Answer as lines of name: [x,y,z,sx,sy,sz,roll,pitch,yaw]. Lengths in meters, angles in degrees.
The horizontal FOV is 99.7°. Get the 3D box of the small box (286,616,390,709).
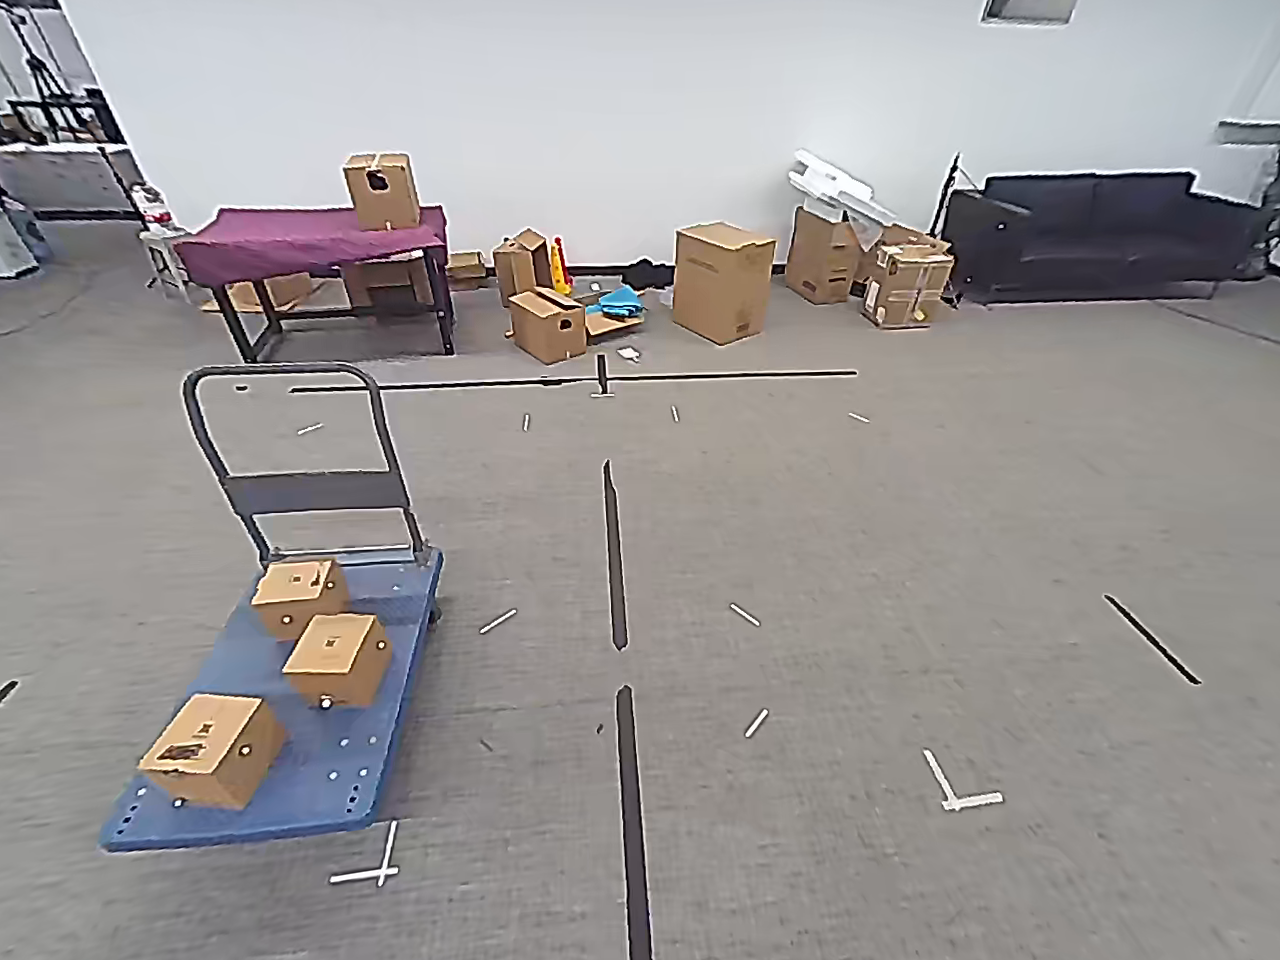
small box: [-0.789,0.484,1.438,0.168,0.176,0.179,0,39,0]

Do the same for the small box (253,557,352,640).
small box: [-0.986,0.354,1.597,0.179,0.176,0.168,-6,39,-8]

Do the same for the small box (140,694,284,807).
small box: [-0.966,0.624,1.244,0.168,0.176,0.179,4,36,2]
